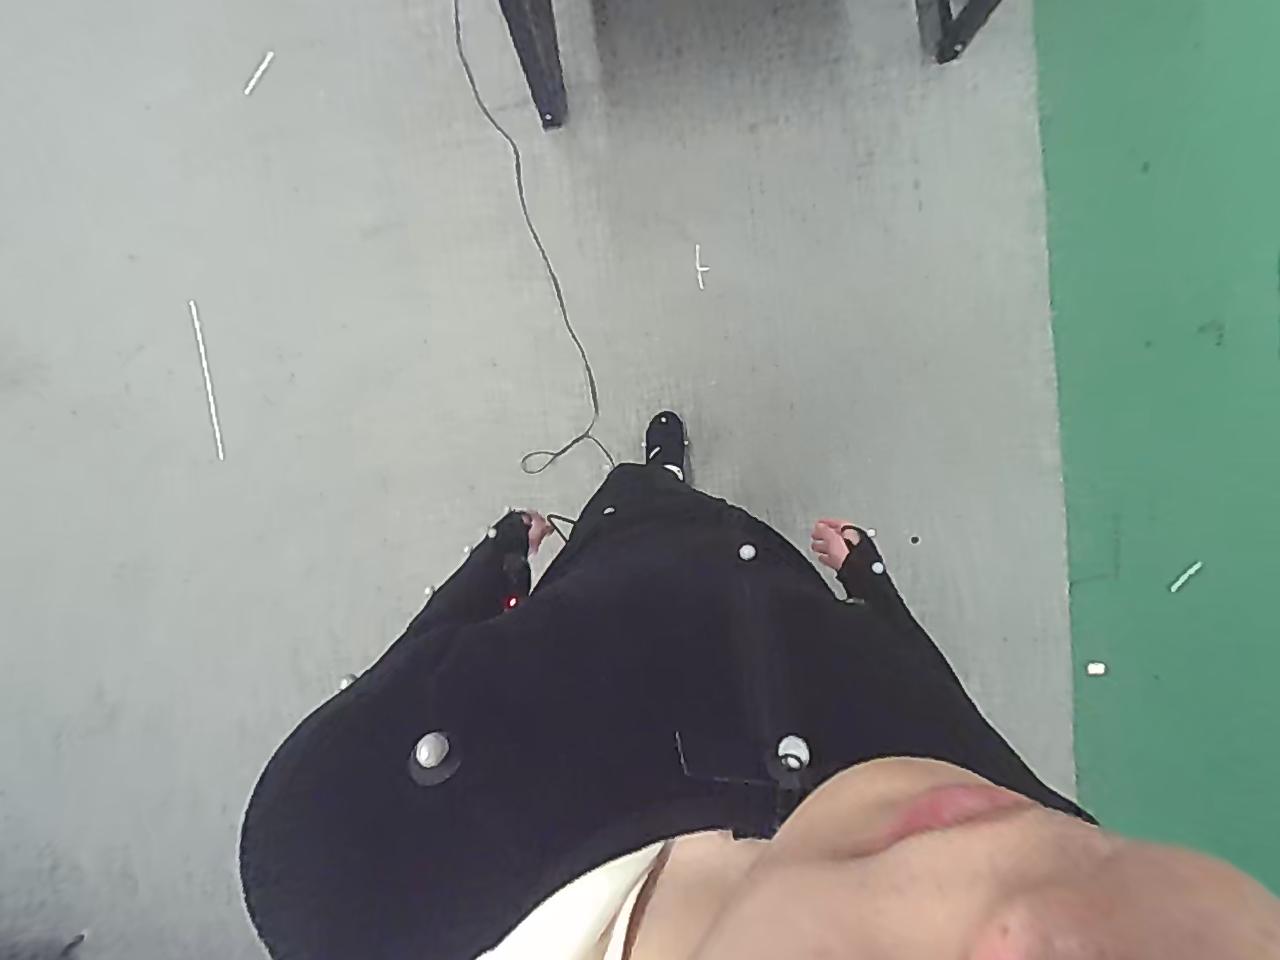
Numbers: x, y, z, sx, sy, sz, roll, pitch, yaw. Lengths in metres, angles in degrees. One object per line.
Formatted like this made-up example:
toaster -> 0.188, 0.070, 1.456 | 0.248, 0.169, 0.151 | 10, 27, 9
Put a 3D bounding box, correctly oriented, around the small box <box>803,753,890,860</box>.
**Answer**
small box -> 0.517, 0.824, 1.370 | 0.168, 0.176, 0.179 | -2, 95, 4
